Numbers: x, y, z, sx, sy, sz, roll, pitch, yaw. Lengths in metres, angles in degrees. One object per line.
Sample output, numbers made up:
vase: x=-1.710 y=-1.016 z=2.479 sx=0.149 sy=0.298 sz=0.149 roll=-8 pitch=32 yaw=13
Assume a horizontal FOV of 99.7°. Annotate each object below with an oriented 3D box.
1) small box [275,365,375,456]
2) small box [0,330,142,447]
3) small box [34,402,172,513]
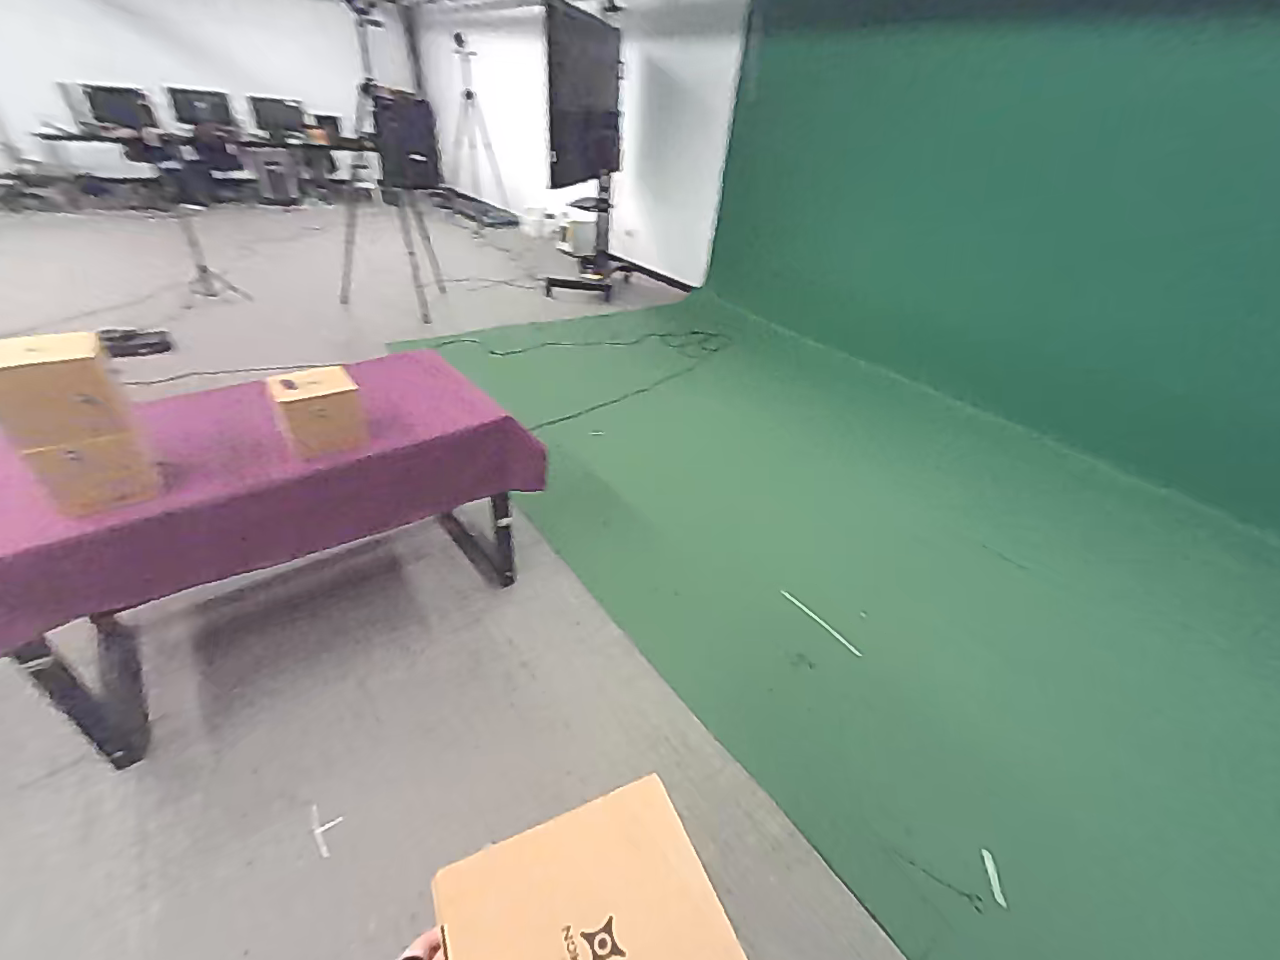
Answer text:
small box: x=-0.827 y=-0.183 z=1.427 sx=0.179 sy=0.176 sz=0.168 roll=-20 pitch=43 yaw=-33
small box: x=-1.158 y=-0.188 z=1.100 sx=0.179 sy=0.176 sz=0.168 roll=-20 pitch=41 yaw=-31
small box: x=-1.172 y=-0.054 z=1.193 sx=0.168 sy=0.176 sz=0.179 roll=-21 pitch=42 yaw=-32
